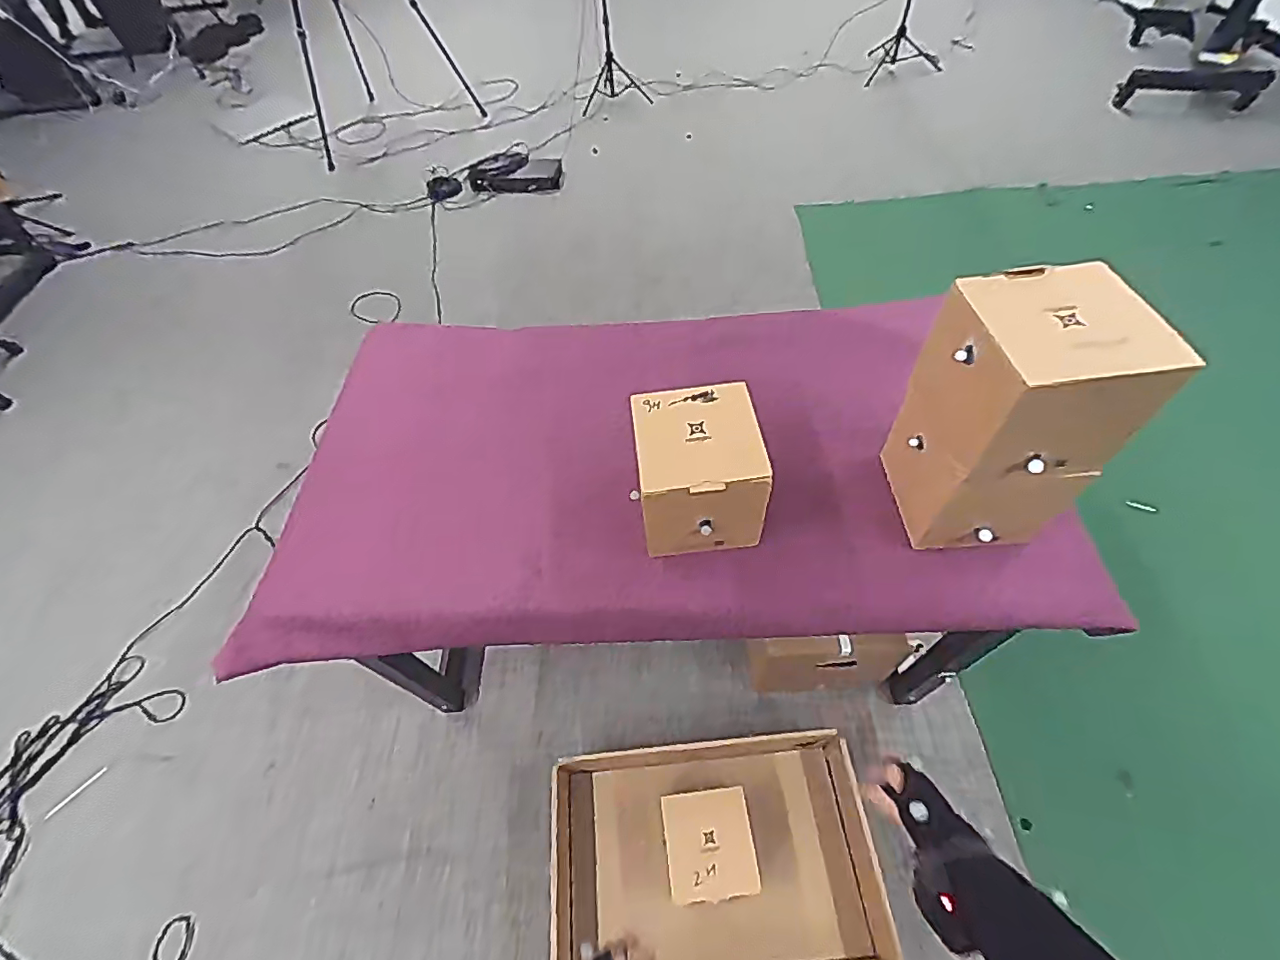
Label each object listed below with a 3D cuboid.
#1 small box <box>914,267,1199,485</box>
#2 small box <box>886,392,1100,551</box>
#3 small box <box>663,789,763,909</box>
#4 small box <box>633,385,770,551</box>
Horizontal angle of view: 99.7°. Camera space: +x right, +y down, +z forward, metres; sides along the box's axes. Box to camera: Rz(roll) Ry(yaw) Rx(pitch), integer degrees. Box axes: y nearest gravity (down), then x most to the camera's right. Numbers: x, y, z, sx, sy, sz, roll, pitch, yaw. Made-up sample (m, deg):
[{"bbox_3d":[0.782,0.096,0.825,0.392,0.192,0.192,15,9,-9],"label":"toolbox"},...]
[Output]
[{"bbox_3d":[0.445,-0.116,0.621,0.168,0.176,0.179,-6,53,3],"label":"small box"},{"bbox_3d":[0.464,-0.019,0.751,0.168,0.176,0.179,-4,54,4],"label":"small box"},{"bbox_3d":[0.138,0.734,1.078,0.168,0.176,0.179,-7,55,0],"label":"small box"},{"bbox_3d":[0.083,-0.009,0.781,0.168,0.176,0.179,-6,54,0],"label":"small box"}]
